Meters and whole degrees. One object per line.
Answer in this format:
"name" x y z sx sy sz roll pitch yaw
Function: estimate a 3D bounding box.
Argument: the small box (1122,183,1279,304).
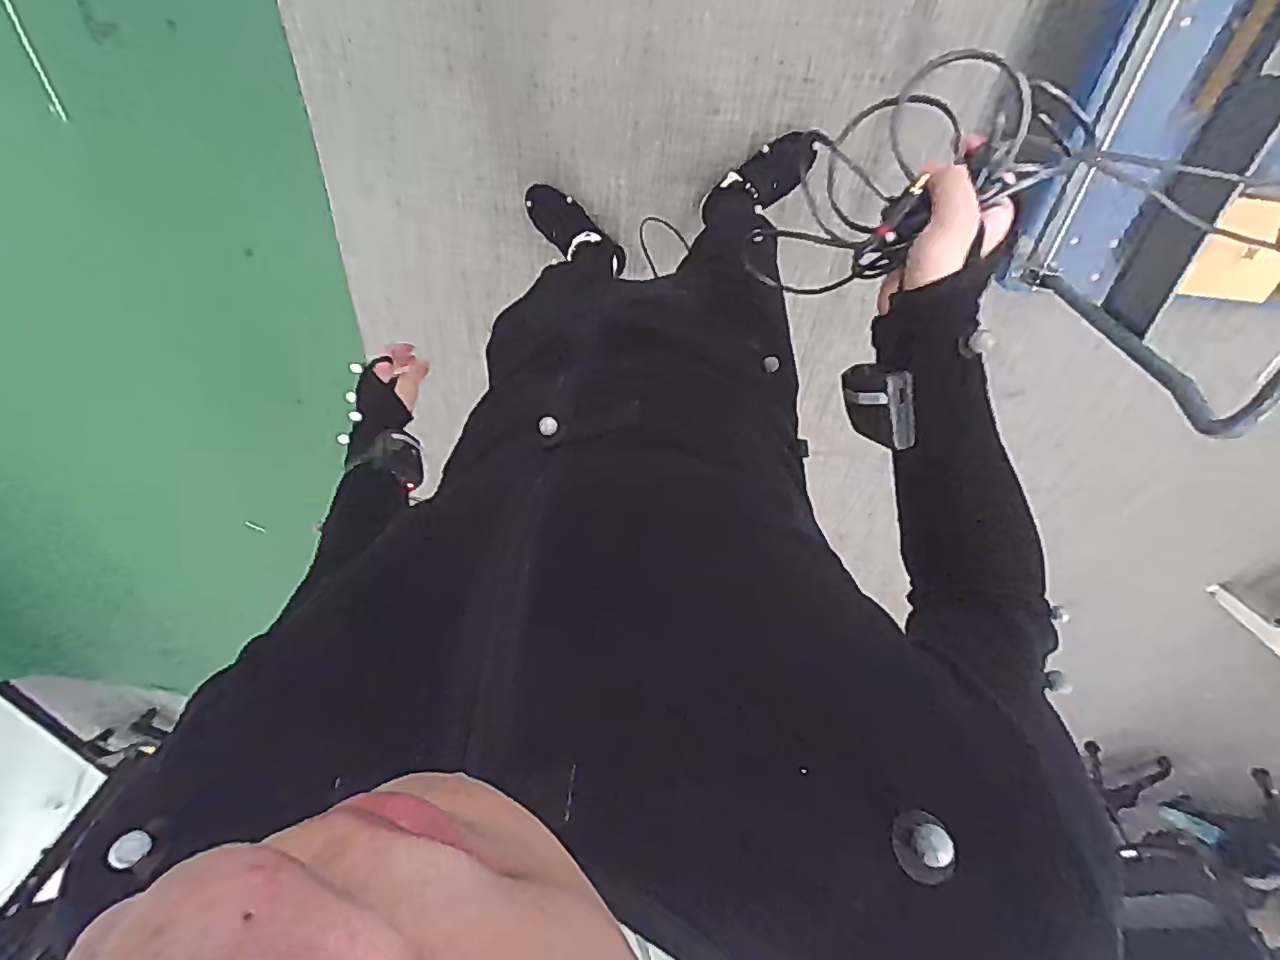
"small box" 1.094 -0.452 1.027 0.179 0.176 0.168 8 129 3
